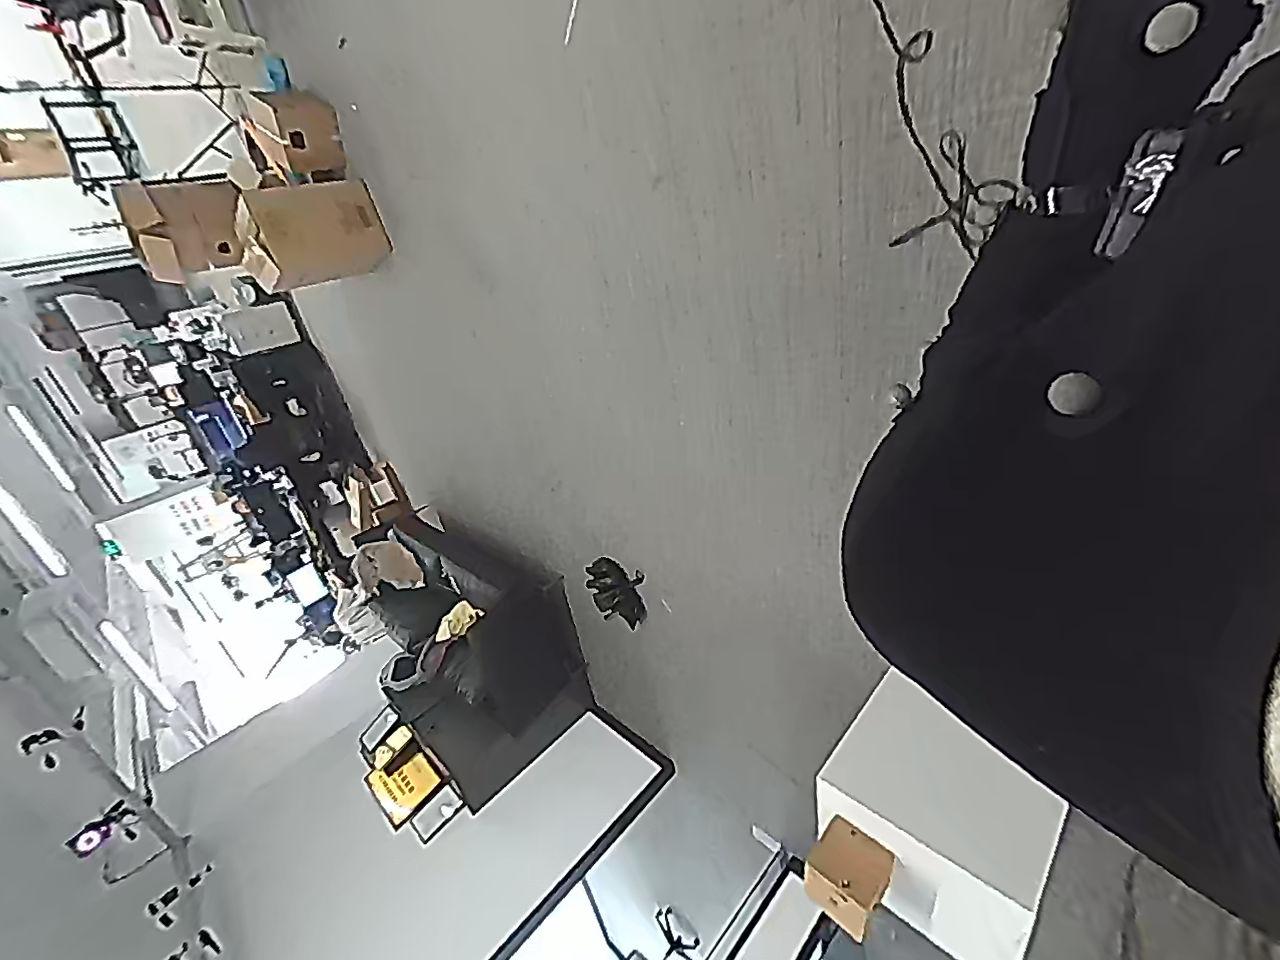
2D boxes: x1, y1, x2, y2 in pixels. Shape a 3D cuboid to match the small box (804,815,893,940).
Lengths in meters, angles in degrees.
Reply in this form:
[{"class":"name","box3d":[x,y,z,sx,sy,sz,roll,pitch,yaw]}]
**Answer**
[{"class":"small box","box3d":[0.553,1.048,1.435,0.168,0.176,0.179,21,131,41]}]
